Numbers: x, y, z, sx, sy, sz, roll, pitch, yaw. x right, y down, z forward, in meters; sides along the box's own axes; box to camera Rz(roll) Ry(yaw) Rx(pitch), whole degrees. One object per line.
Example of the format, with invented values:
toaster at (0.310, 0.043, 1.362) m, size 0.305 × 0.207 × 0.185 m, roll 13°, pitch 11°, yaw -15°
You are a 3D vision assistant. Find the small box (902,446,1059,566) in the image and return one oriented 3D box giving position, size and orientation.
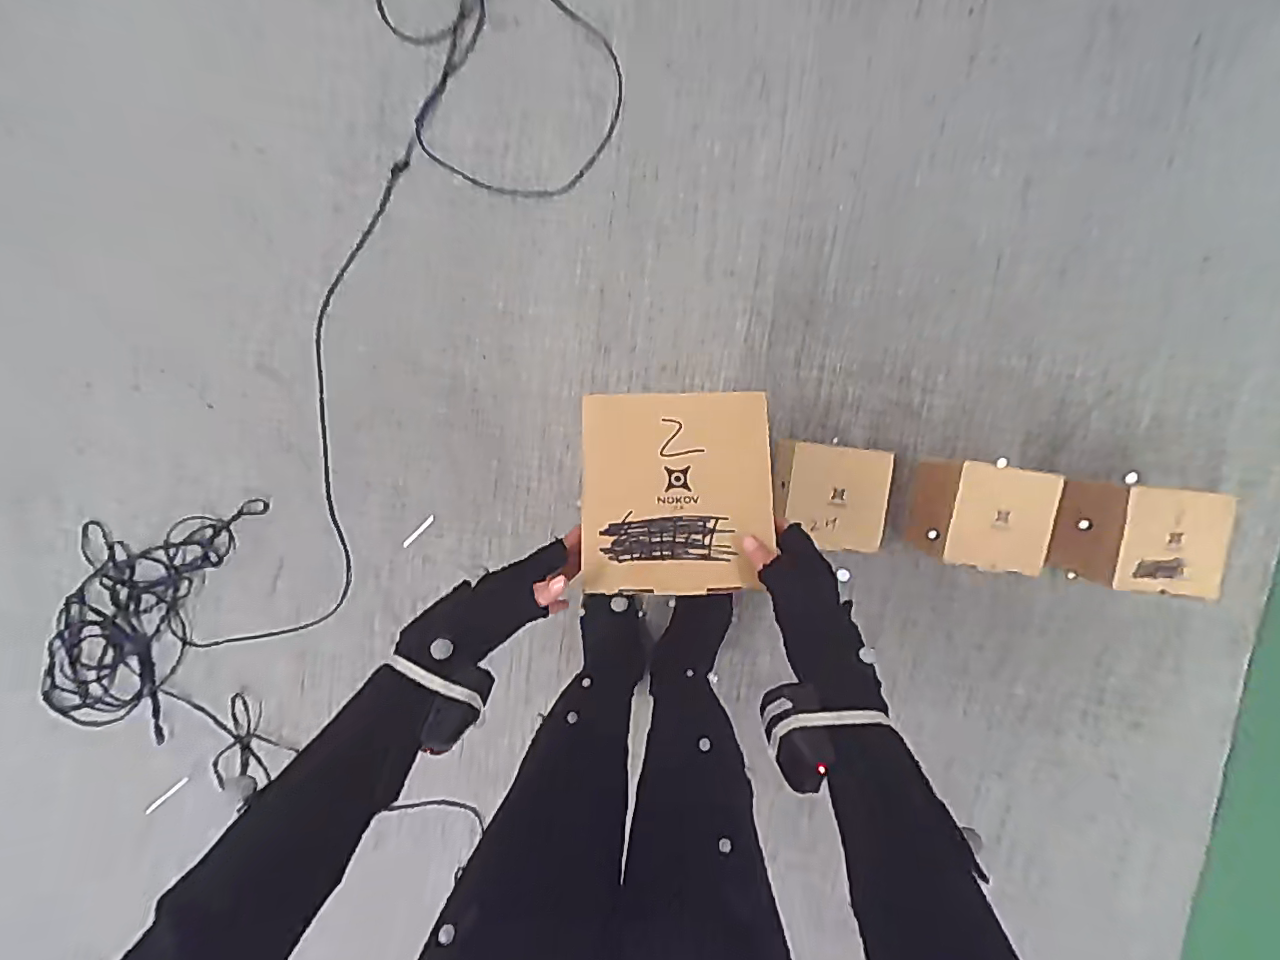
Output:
small box at (0.600, 0.038, 0.978) m, size 0.168 × 0.176 × 0.179 m, roll 9°, pitch 98°, yaw 3°

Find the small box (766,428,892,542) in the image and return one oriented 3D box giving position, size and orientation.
small box at (0.334, 0.001, 0.990) m, size 0.168 × 0.176 × 0.179 m, roll 8°, pitch 97°, yaw 4°

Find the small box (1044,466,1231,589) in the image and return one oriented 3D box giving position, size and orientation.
small box at (0.865, 0.076, 0.961) m, size 0.168 × 0.176 × 0.179 m, roll 6°, pitch 96°, yaw 3°
